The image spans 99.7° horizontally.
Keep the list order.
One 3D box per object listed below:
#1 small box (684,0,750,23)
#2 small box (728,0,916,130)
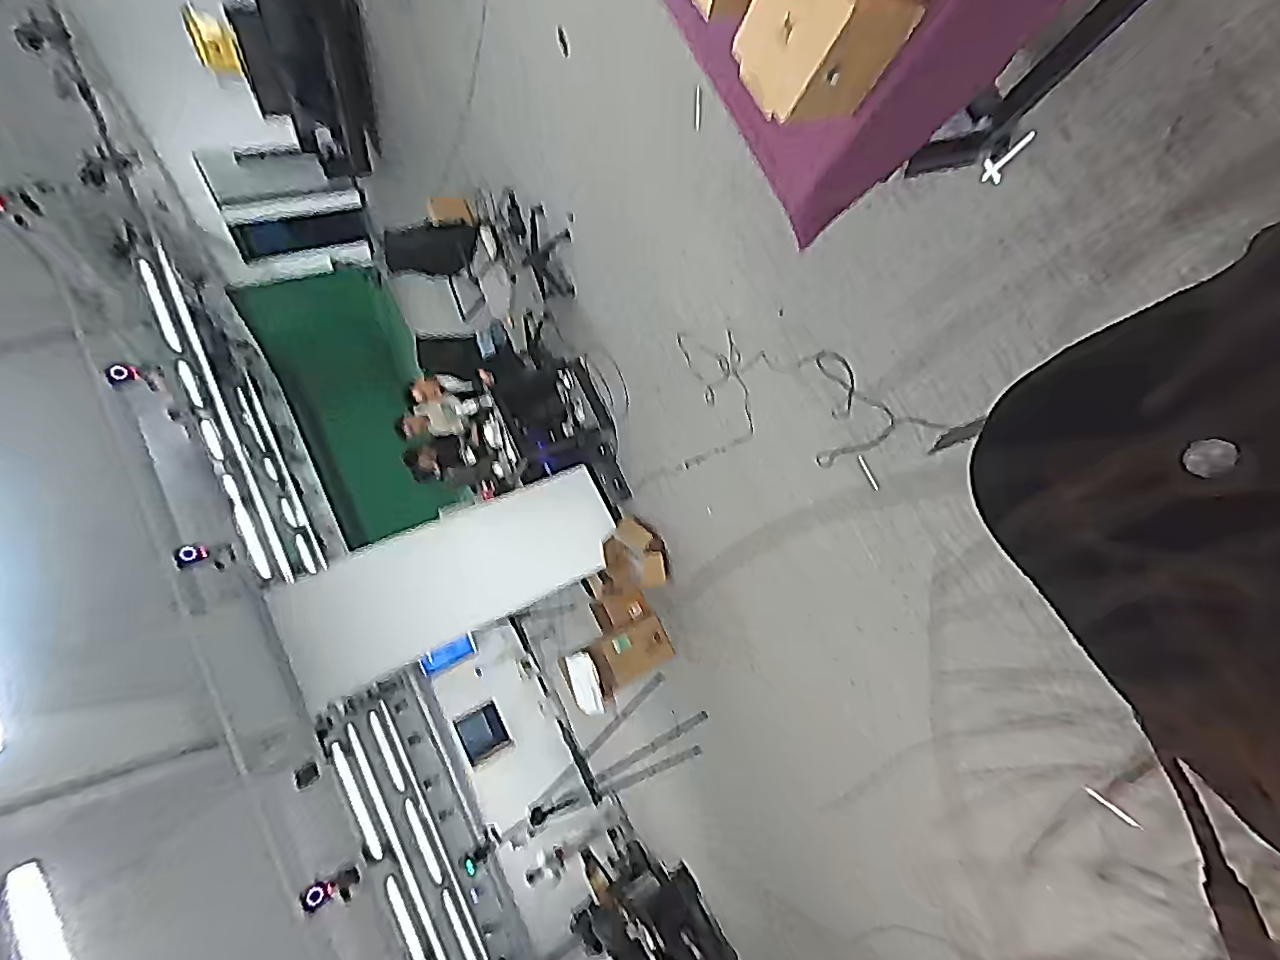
[{"bbox_3d":[0.156,-0.886,0.871,0.168,0.176,0.179,61,154,10],"label":"small box"},{"bbox_3d":[0.273,-0.679,0.826,0.168,0.176,0.179,62,154,8],"label":"small box"}]
